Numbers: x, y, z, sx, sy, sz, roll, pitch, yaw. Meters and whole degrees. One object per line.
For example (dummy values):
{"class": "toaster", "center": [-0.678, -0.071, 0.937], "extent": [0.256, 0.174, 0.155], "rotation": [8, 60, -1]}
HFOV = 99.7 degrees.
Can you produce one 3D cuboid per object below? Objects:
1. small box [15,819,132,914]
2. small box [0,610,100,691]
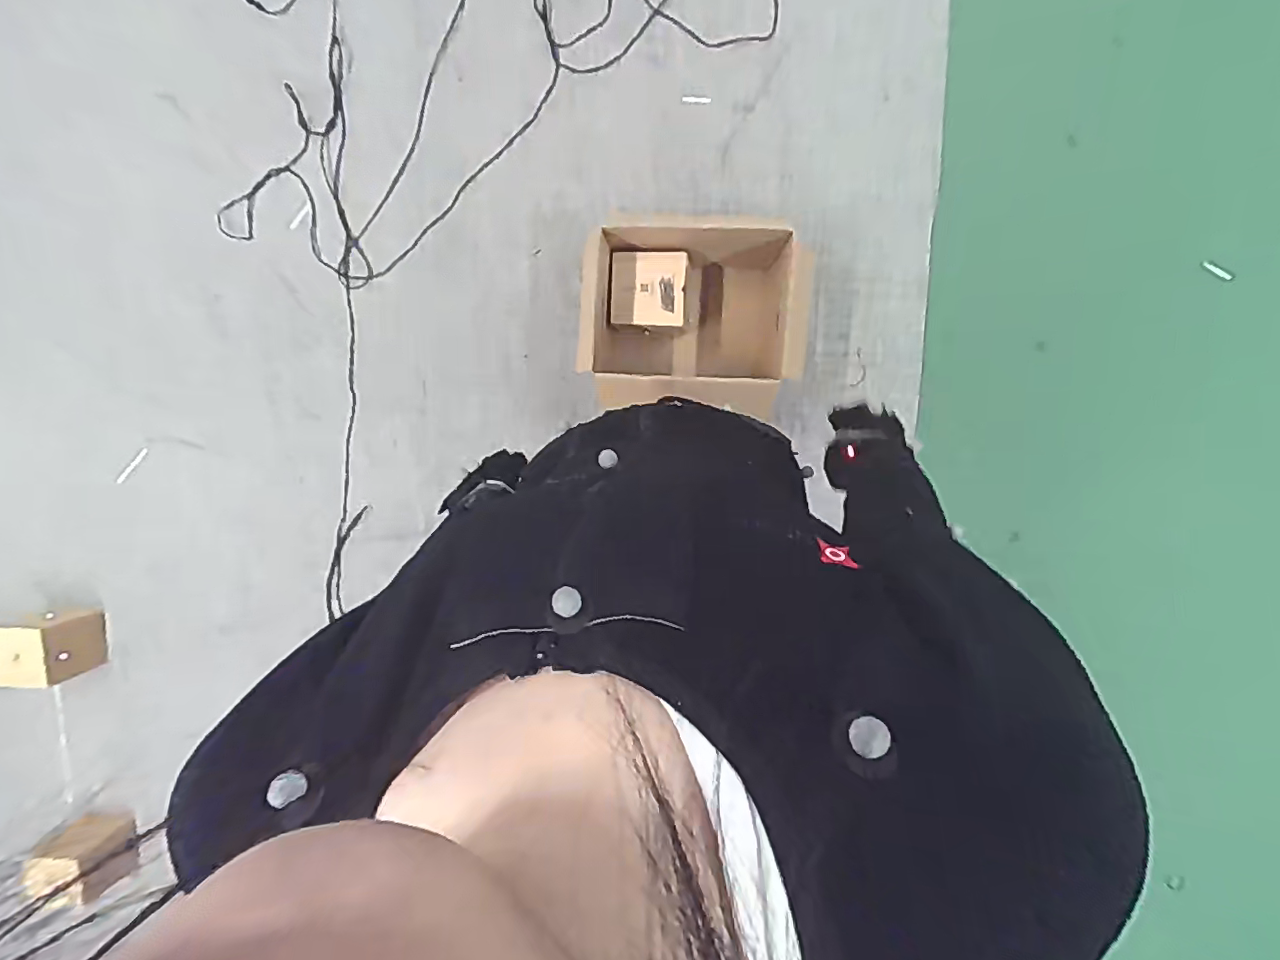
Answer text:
{"class": "small box", "center": [-1.706, 1.162, 1.636], "extent": [0.179, 0.176, 0.168], "rotation": [1, 97, 3]}
{"class": "small box", "center": [-1.716, 0.482, 1.551], "extent": [0.168, 0.176, 0.179], "rotation": [1, 98, 3]}
